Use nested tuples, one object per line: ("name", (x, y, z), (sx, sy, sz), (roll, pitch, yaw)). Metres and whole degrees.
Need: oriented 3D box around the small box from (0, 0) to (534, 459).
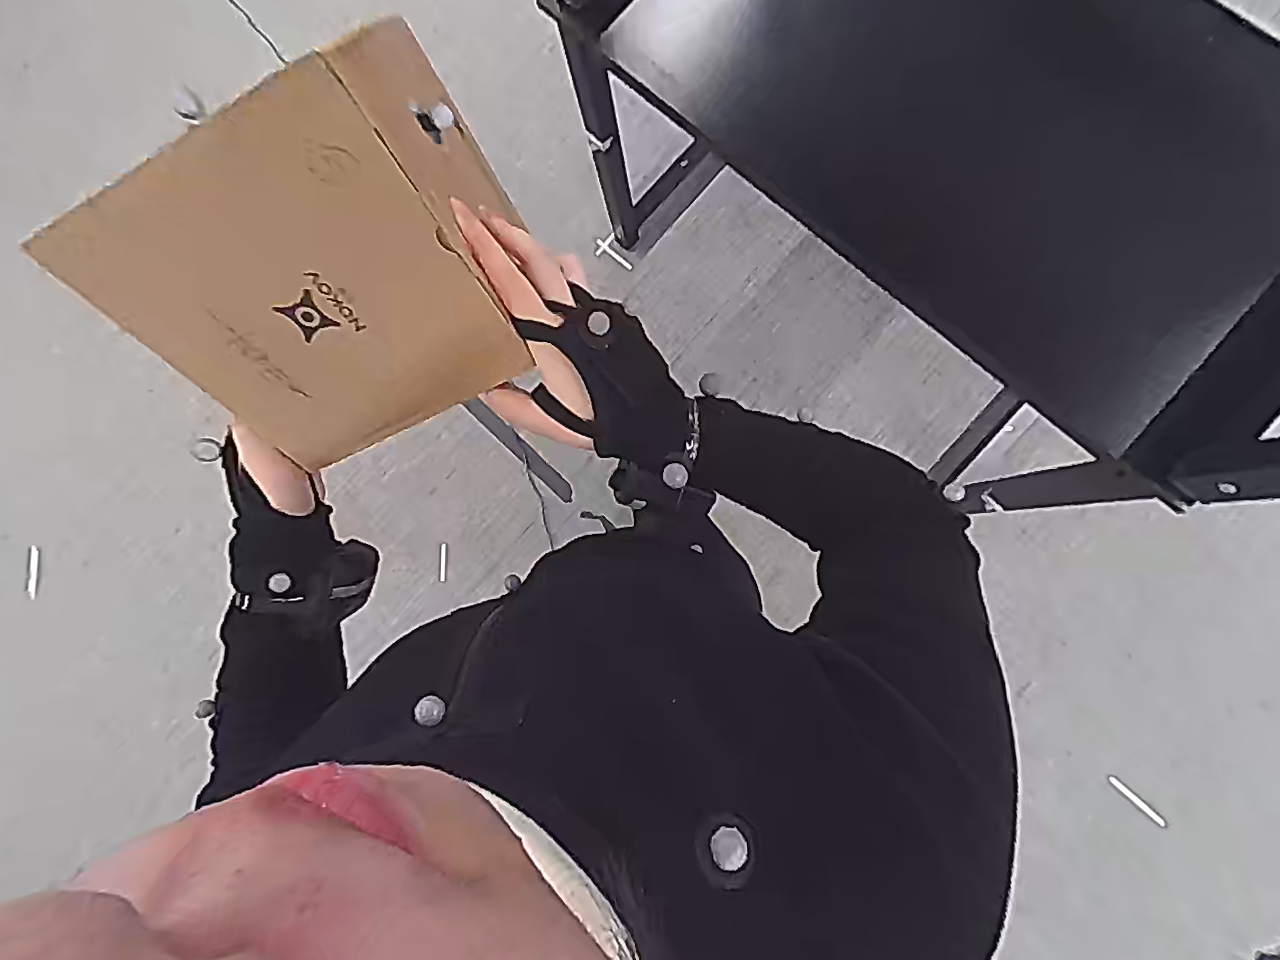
("small box", (-0.180, -0.149, 0.323), (0.179, 0.168, 0.176), (-21, 44, 11))
